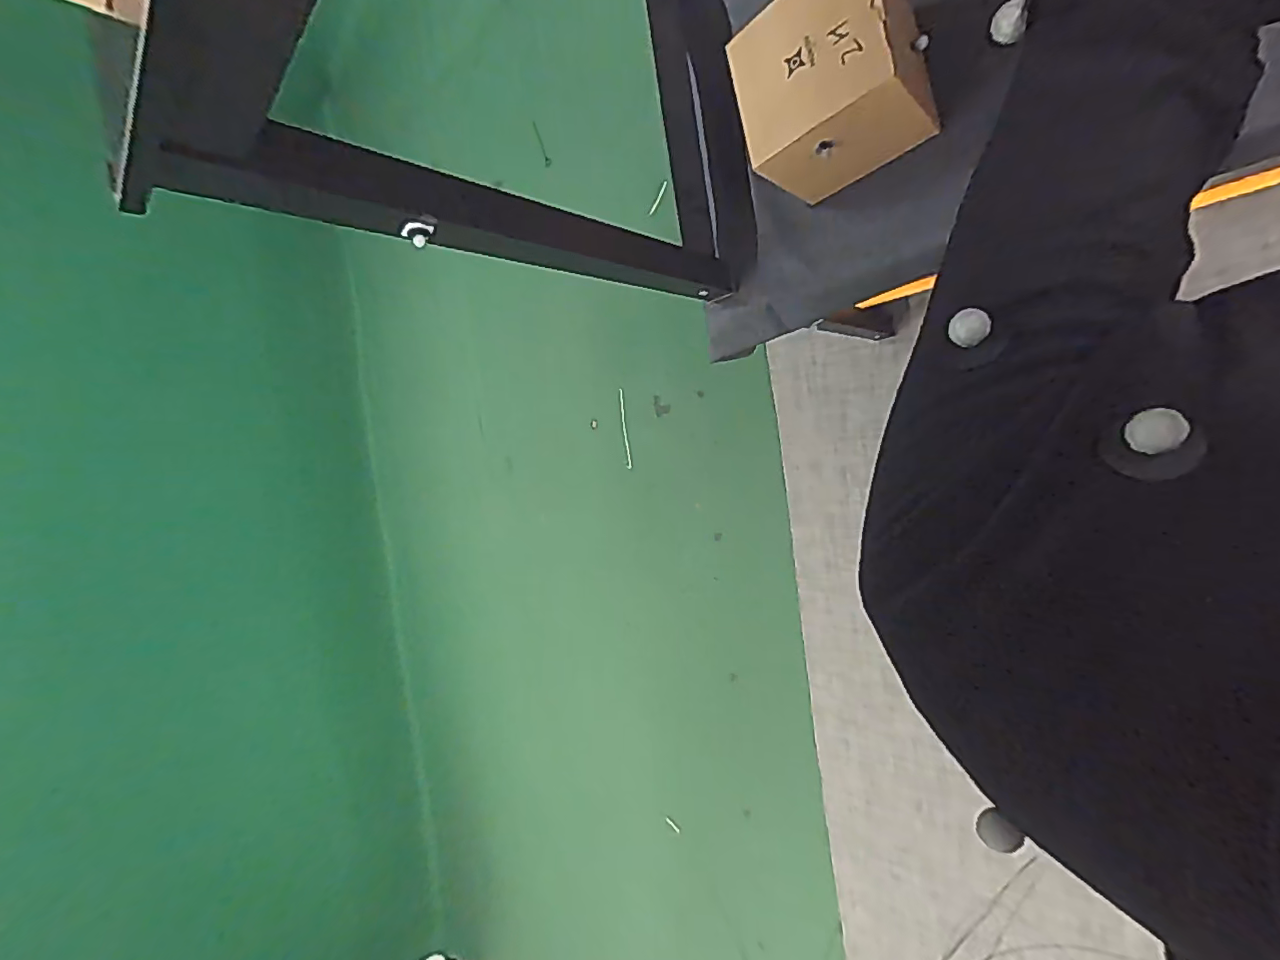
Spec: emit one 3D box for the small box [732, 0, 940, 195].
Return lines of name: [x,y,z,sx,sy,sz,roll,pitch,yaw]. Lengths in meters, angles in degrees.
small box: [0.245,-0.492,0.677,0.179,0.176,0.168,-14,87,43]
